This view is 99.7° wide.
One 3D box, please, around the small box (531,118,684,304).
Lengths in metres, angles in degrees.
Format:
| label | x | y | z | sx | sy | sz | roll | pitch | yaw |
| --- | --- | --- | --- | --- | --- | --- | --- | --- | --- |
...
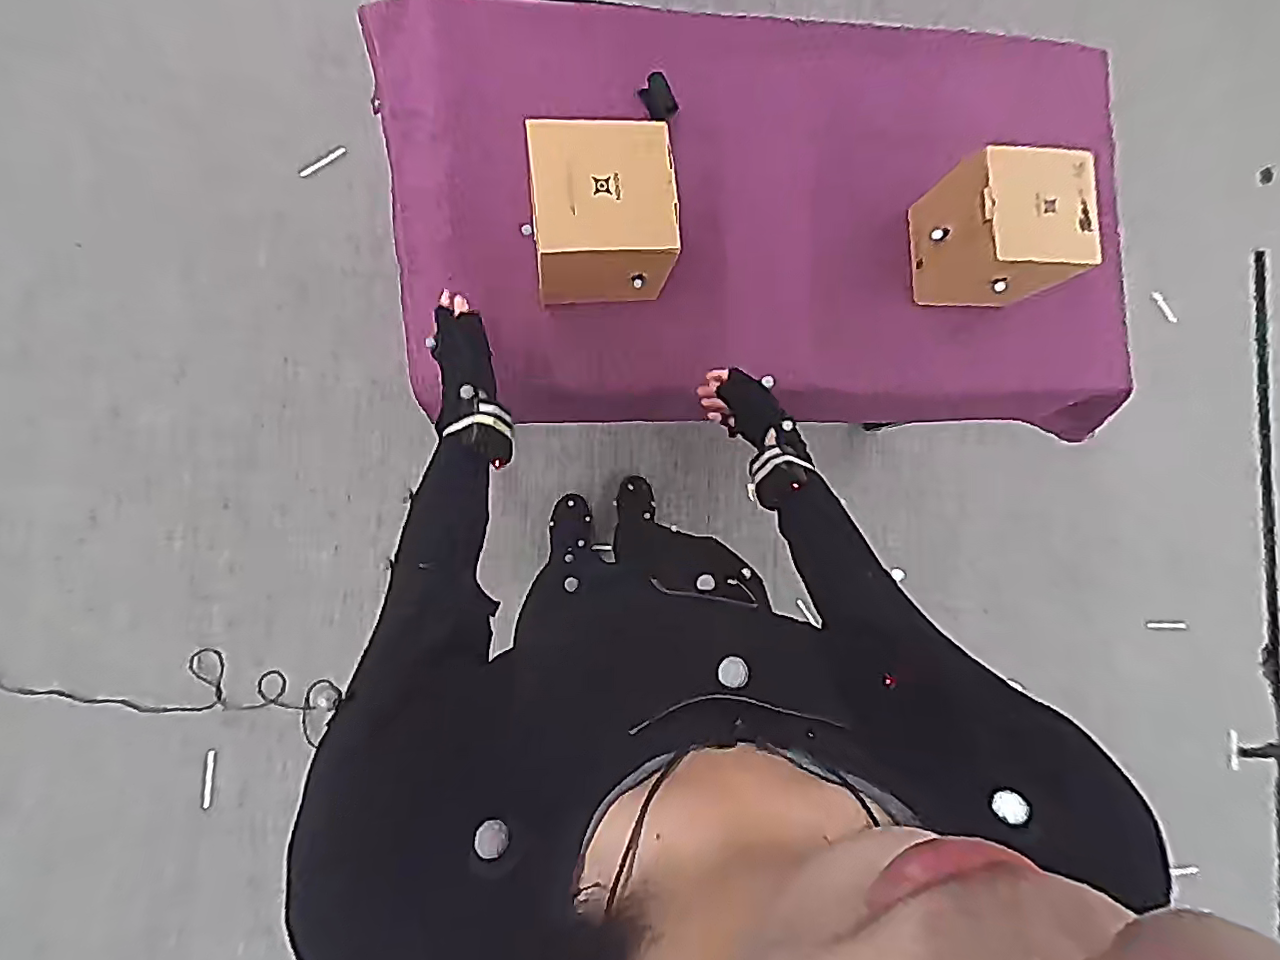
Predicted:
| label | x | y | z | sx | sy | sz | roll | pitch | yaw |
| --- | --- | --- | --- | --- | --- | --- | --- | --- | --- |
| small box | -0.051 | -0.351 | 0.731 | 0.179 | 0.176 | 0.168 | -6 | 87 | -9 |

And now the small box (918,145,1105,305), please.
| label | x | y | z | sx | sy | sz | roll | pitch | yaw |
| --- | --- | --- | --- | --- | --- | --- | --- | --- | --- |
| small box | 0.551 | -0.378 | 0.829 | 0.179 | 0.176 | 0.168 | -2 | 87 | -8 |
